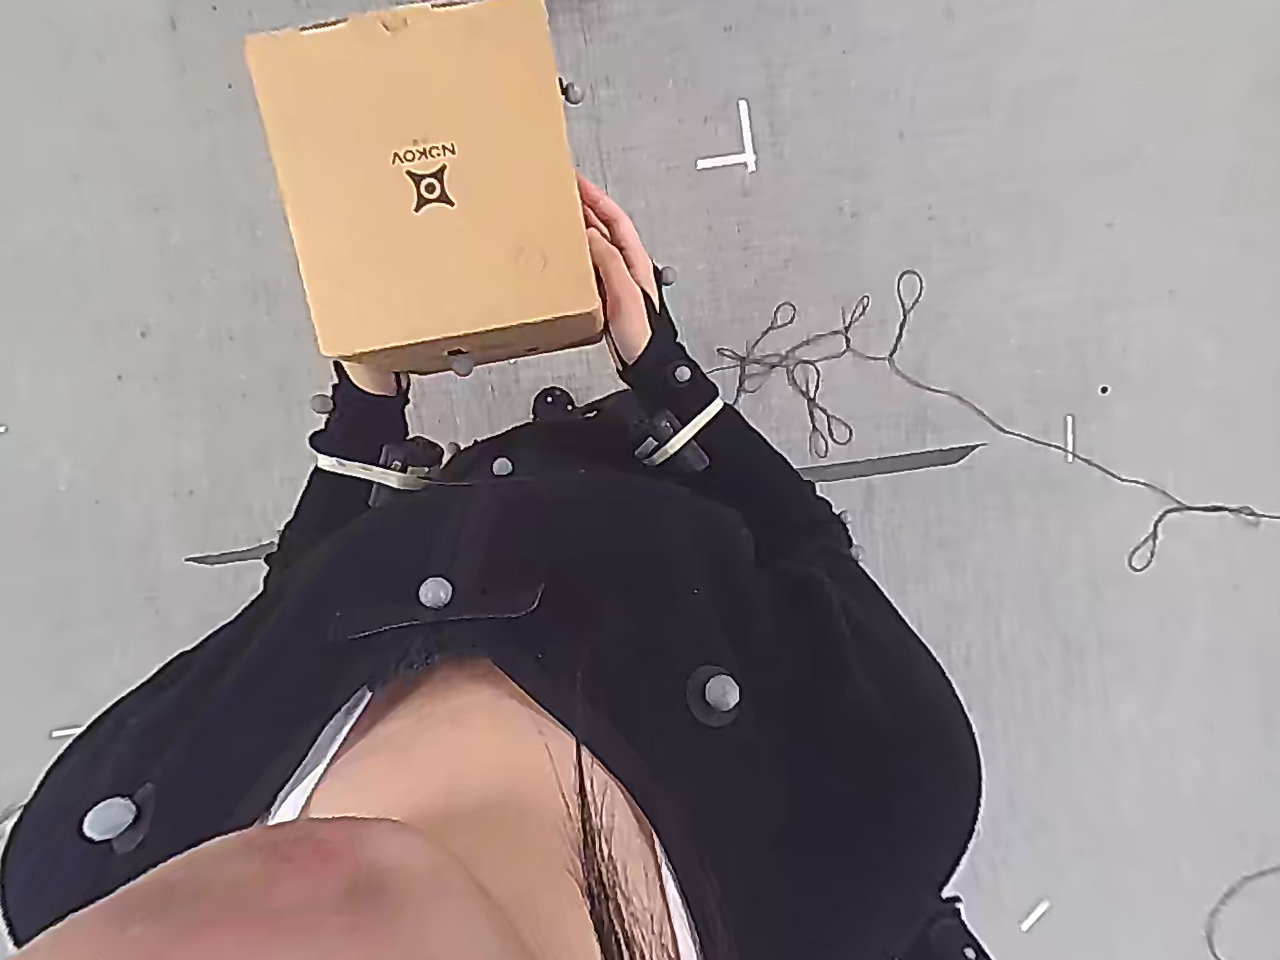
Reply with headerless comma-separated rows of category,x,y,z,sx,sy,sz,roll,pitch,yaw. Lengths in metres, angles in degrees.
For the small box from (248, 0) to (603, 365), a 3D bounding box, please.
small box,-0.120,-0.181,0.382,0.168,0.176,0.179,-11,98,-2
